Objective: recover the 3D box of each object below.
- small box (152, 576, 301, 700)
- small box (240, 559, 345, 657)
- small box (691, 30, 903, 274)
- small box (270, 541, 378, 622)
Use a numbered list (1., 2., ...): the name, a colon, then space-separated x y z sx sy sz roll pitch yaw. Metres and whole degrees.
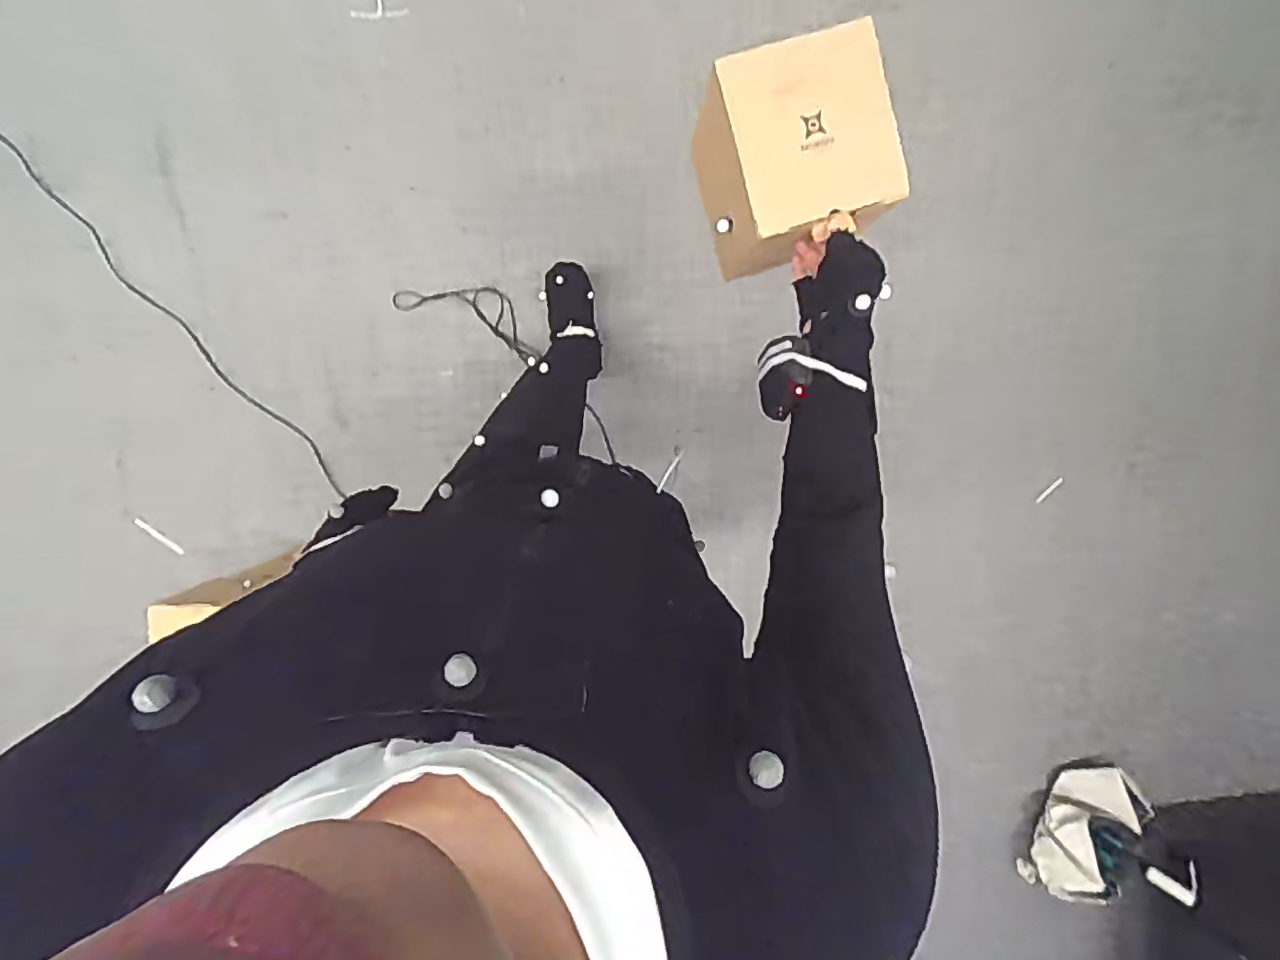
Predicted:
1. small box: -0.773 0.294 1.030 0.168 0.176 0.179 2 96 -4
2. small box: -0.776 0.277 1.191 0.168 0.176 0.179 -3 98 -4
3. small box: 0.168 -0.355 0.626 0.168 0.176 0.179 -16 96 -3
4. small box: -0.784 0.253 1.356 0.168 0.176 0.179 -6 95 0
